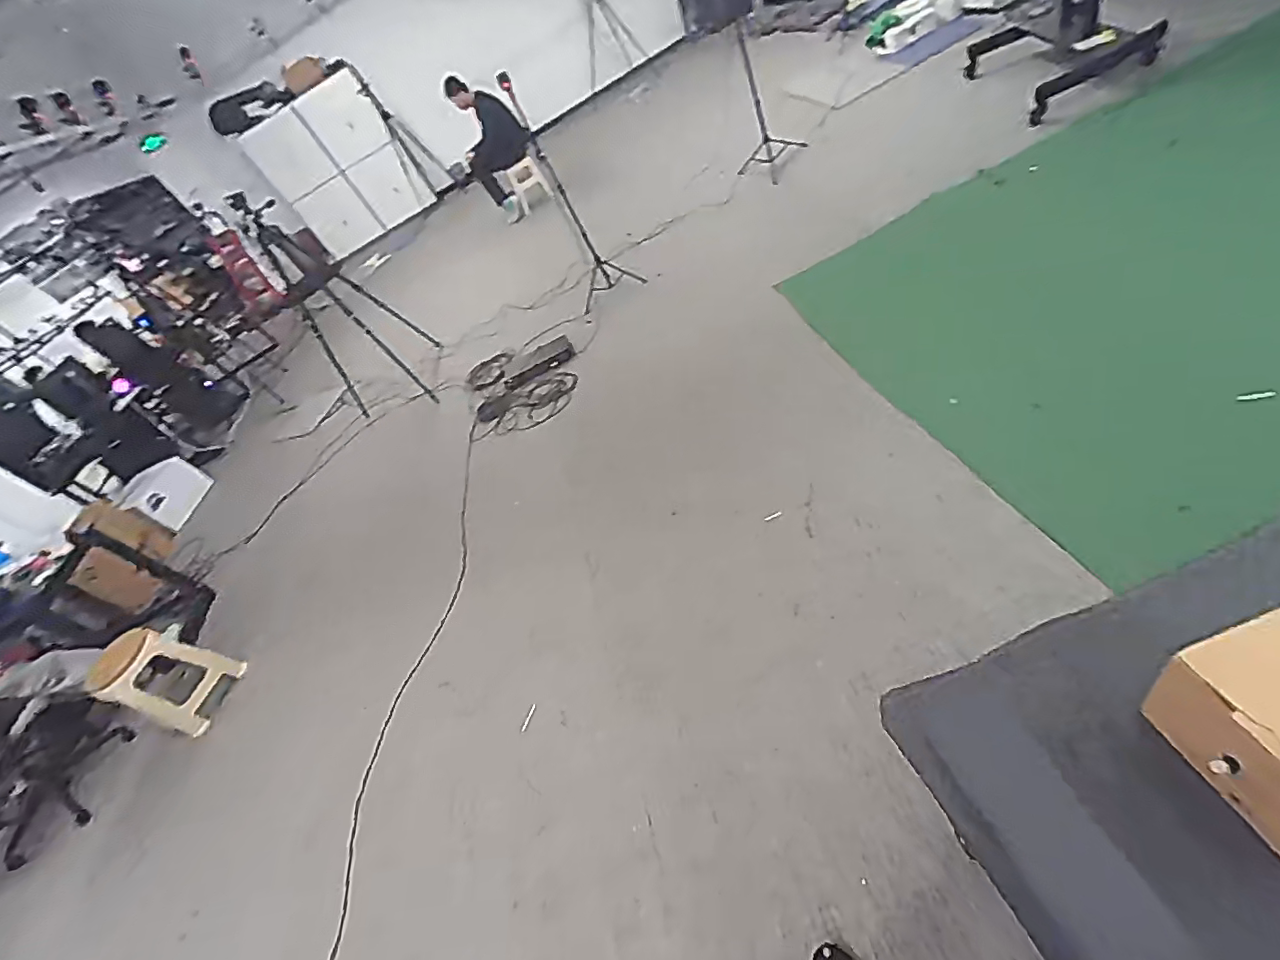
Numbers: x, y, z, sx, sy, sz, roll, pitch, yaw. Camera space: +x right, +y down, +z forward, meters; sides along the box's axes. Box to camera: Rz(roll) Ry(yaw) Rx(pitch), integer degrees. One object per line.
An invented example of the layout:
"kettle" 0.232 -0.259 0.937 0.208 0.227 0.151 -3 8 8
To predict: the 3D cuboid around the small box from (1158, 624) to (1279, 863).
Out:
"small box" 0.653 0.249 0.515 0.179 0.176 0.168 -27 41 6
